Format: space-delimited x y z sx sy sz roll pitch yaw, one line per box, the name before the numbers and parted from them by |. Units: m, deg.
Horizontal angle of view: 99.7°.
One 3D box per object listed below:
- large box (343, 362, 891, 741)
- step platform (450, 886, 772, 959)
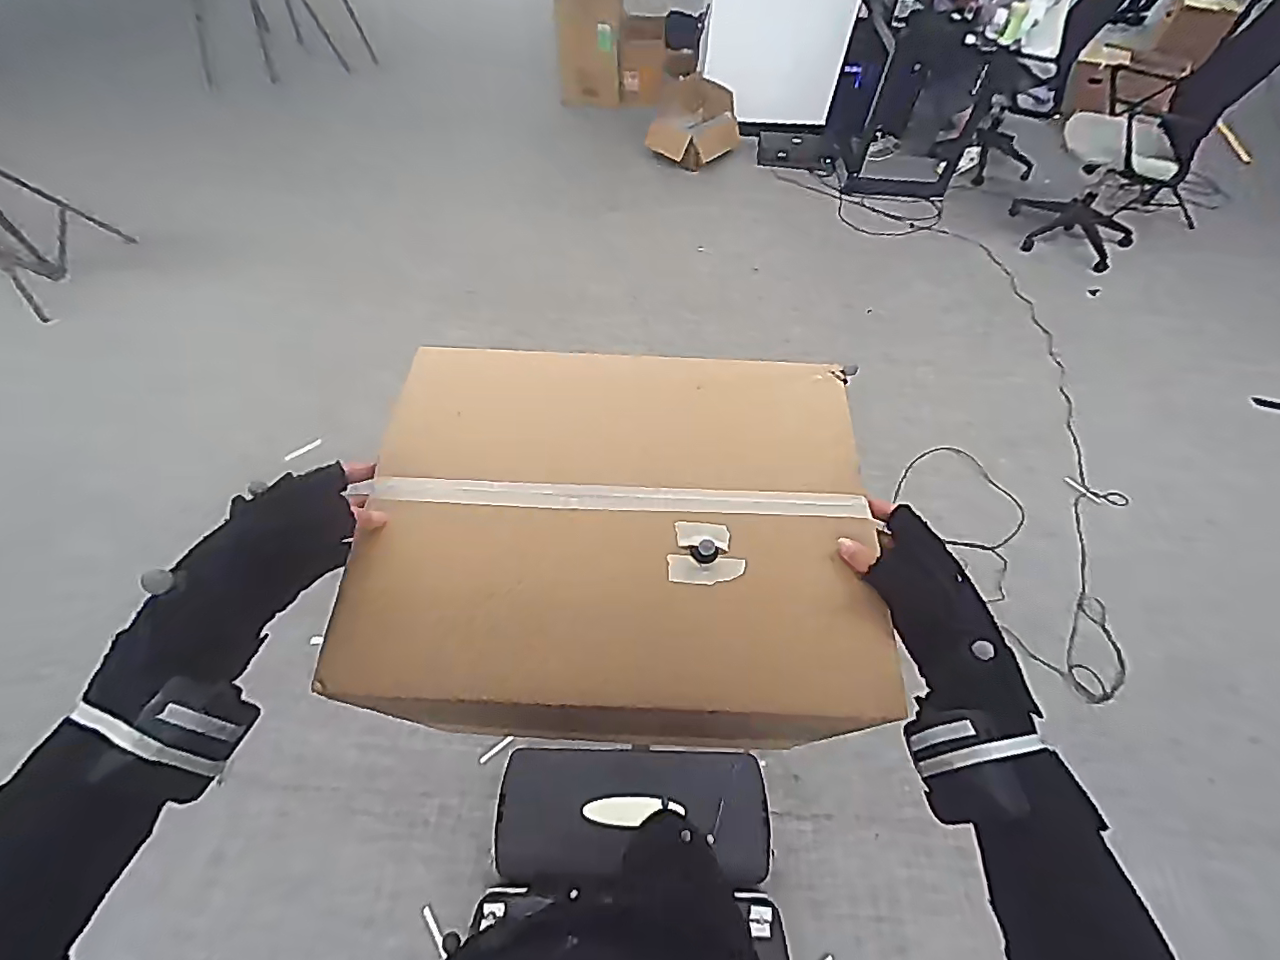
large box | -0.017 0.097 0.588 0.408 0.320 0.320 3 61 0
step platform | -0.059 1.054 1.153 0.684 0.204 0.286 1 55 0
